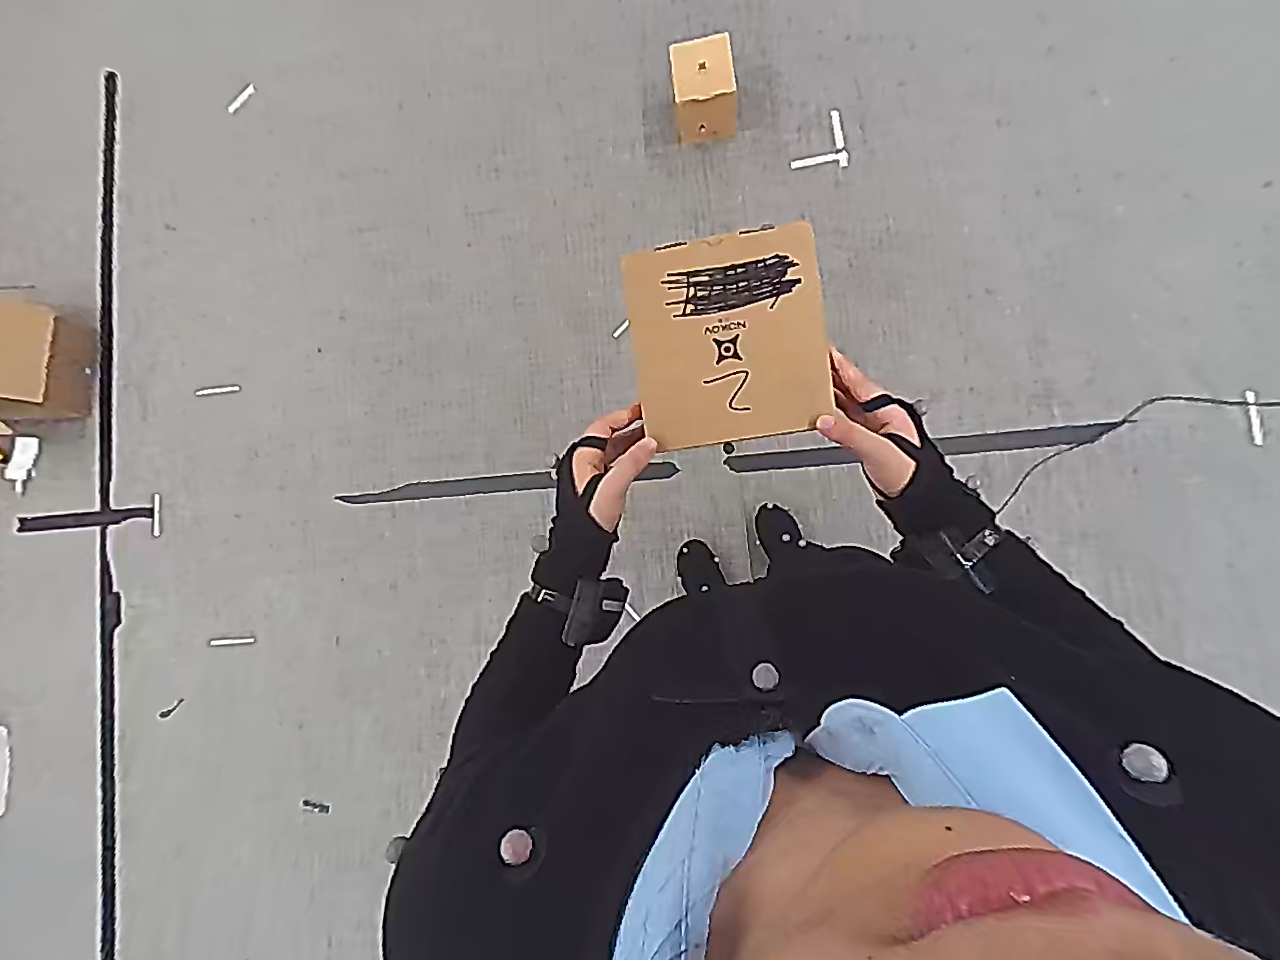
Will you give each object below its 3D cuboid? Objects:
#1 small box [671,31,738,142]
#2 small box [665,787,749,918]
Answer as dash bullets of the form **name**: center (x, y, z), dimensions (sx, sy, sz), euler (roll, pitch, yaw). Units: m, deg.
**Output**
- **small box**: center (0.181, -1.110, 1.534), dimensions (0.168, 0.176, 0.179), euler (-8, 85, 7)
- **small box**: center (0.146, 0.799, 1.174), dimensions (0.168, 0.176, 0.179), euler (-3, 84, 6)
